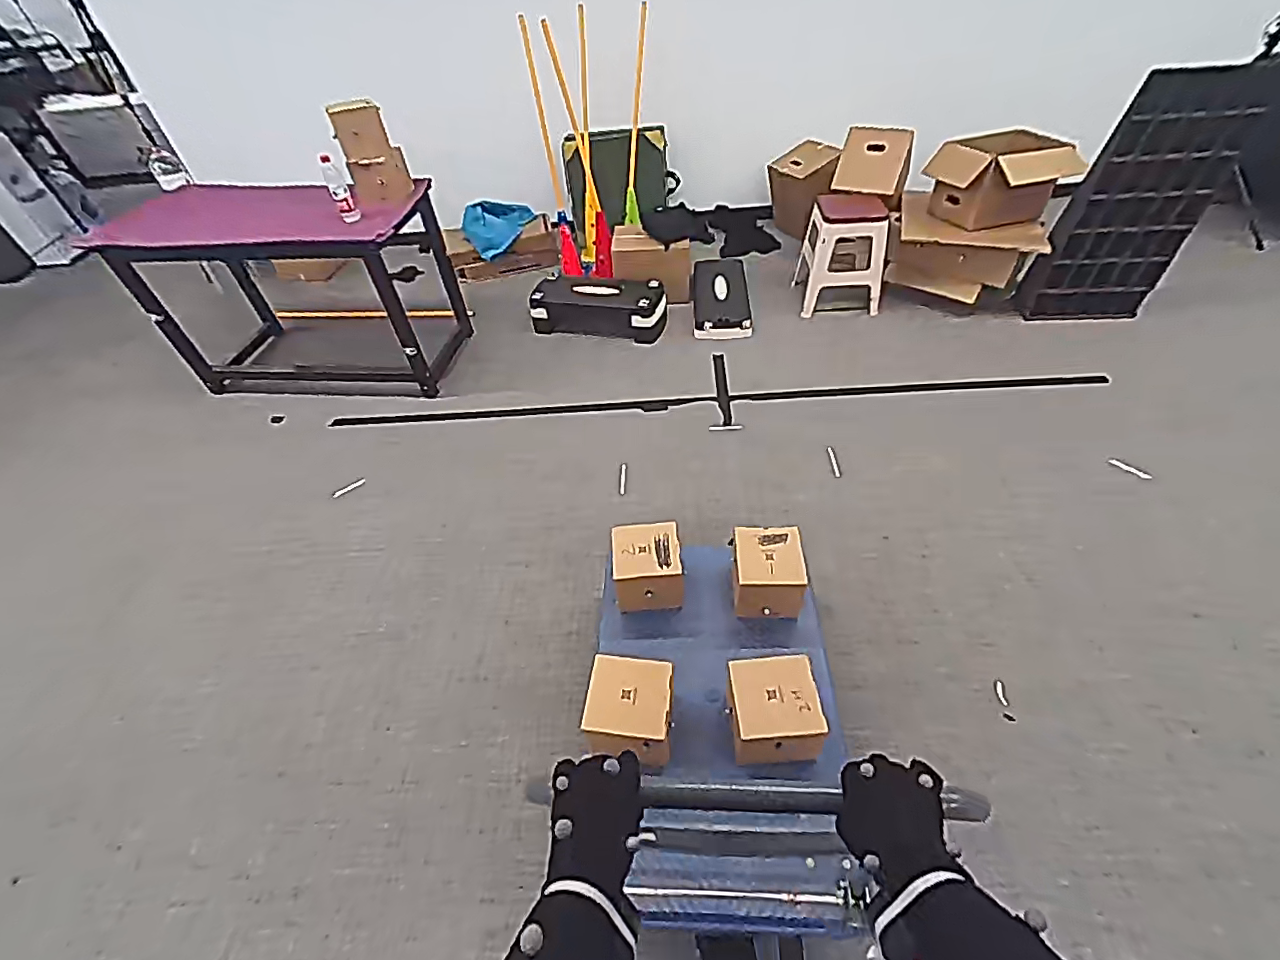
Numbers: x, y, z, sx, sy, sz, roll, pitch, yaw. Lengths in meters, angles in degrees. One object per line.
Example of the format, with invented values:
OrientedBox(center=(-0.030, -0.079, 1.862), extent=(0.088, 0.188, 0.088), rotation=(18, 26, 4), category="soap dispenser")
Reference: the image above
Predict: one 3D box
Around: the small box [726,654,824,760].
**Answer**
OrientedBox(center=(0.286, 0.502, 1.187), extent=(0.179, 0.176, 0.168), rotation=(-5, 47, 1), category="small box")

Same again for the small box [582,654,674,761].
OrientedBox(center=(-0.020, 0.510, 1.210), extent=(0.179, 0.176, 0.168), rotation=(4, 47, 8), category="small box")

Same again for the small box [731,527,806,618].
OrientedBox(center=(0.331, 0.243, 1.425), extent=(0.168, 0.176, 0.179), rotation=(-1, 48, 5), category="small box")
